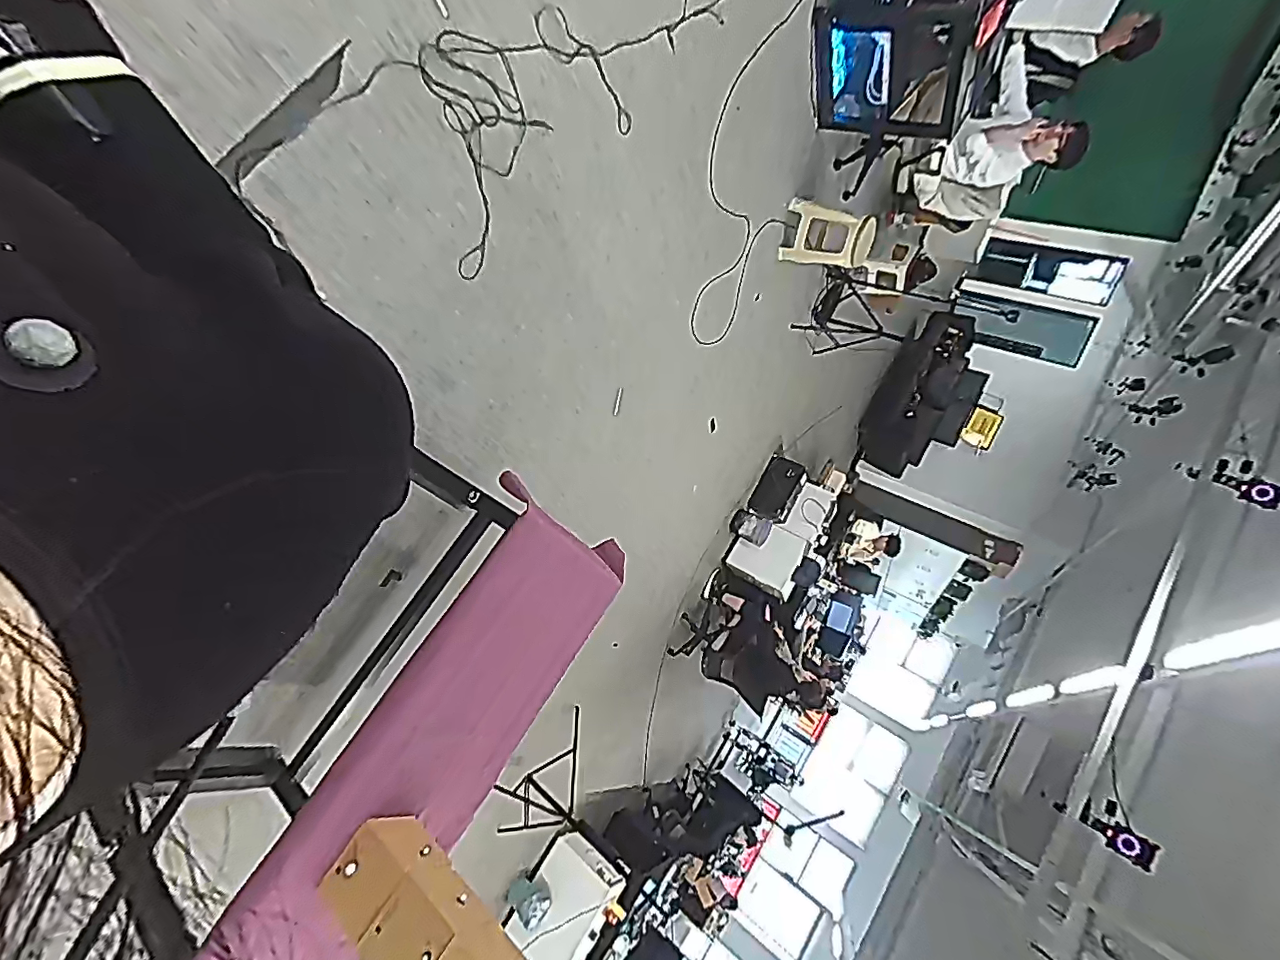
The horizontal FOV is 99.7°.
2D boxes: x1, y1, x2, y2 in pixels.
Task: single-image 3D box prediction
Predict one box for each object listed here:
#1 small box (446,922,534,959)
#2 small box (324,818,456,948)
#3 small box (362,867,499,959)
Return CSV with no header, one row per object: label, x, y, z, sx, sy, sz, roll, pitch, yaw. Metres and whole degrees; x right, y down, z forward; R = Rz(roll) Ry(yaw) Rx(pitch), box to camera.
small box,-0.318,1.030,1.071,0.168,0.176,0.179,-54,150,-17
small box,-0.570,0.907,1.239,0.168,0.176,0.179,-55,150,-15
small box,-0.443,0.969,1.156,0.168,0.176,0.179,-54,151,-17
